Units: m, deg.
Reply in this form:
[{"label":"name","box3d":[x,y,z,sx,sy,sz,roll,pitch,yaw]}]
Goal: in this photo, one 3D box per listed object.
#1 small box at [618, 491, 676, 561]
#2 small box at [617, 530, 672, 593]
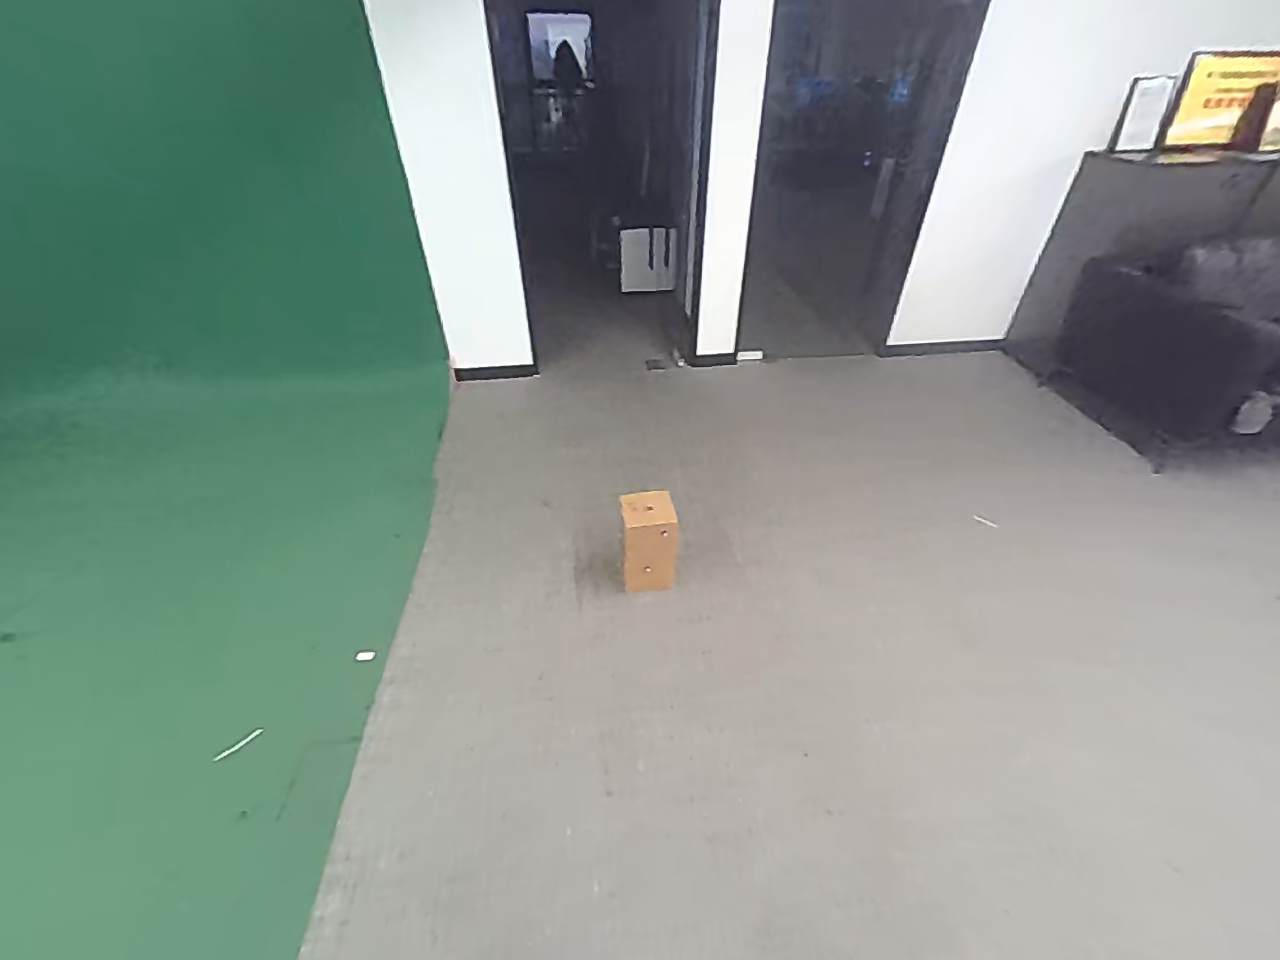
[{"label":"small box","box3d":[0.019,0.158,1.847,0.179,0.176,0.168,-6,40,-7]},{"label":"small box","box3d":[0.012,0.285,1.952,0.179,0.176,0.168,-7,40,-7]}]
